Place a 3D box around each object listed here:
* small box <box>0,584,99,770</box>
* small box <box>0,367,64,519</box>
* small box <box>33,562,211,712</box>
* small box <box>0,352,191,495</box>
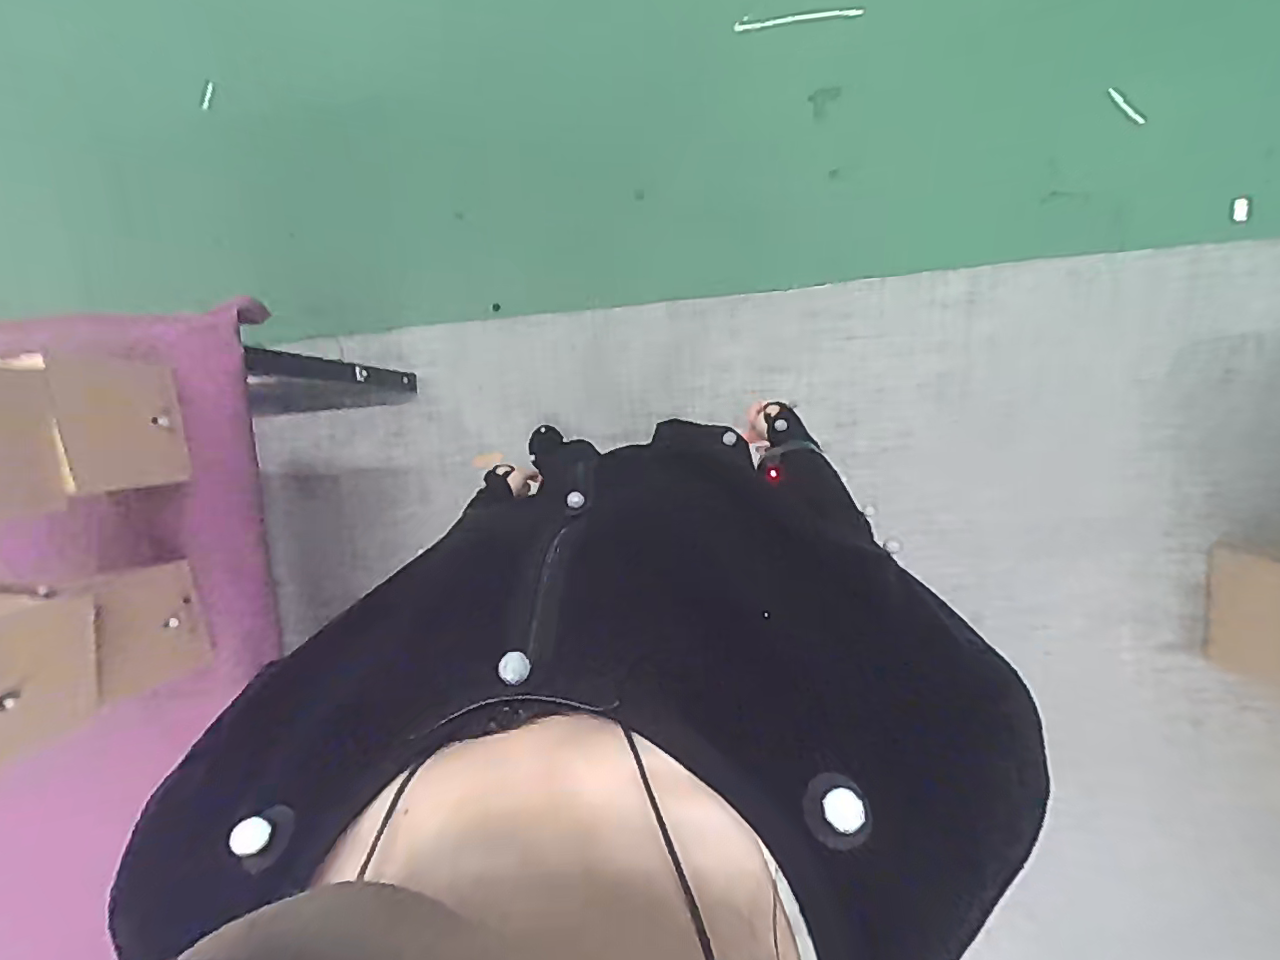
[{"bbox_3d":[-0.780,0.227,0.618,0.168,0.176,0.179,5,97,6],"label":"small box"},{"bbox_3d":[-0.804,-0.040,0.591,0.168,0.176,0.179,-1,97,5],"label":"small box"},{"bbox_3d":[-0.785,0.227,0.784,0.179,0.176,0.168,-10,96,7],"label":"small box"},{"bbox_3d":[-0.782,-0.070,0.751,0.168,0.176,0.179,-7,96,6],"label":"small box"}]
